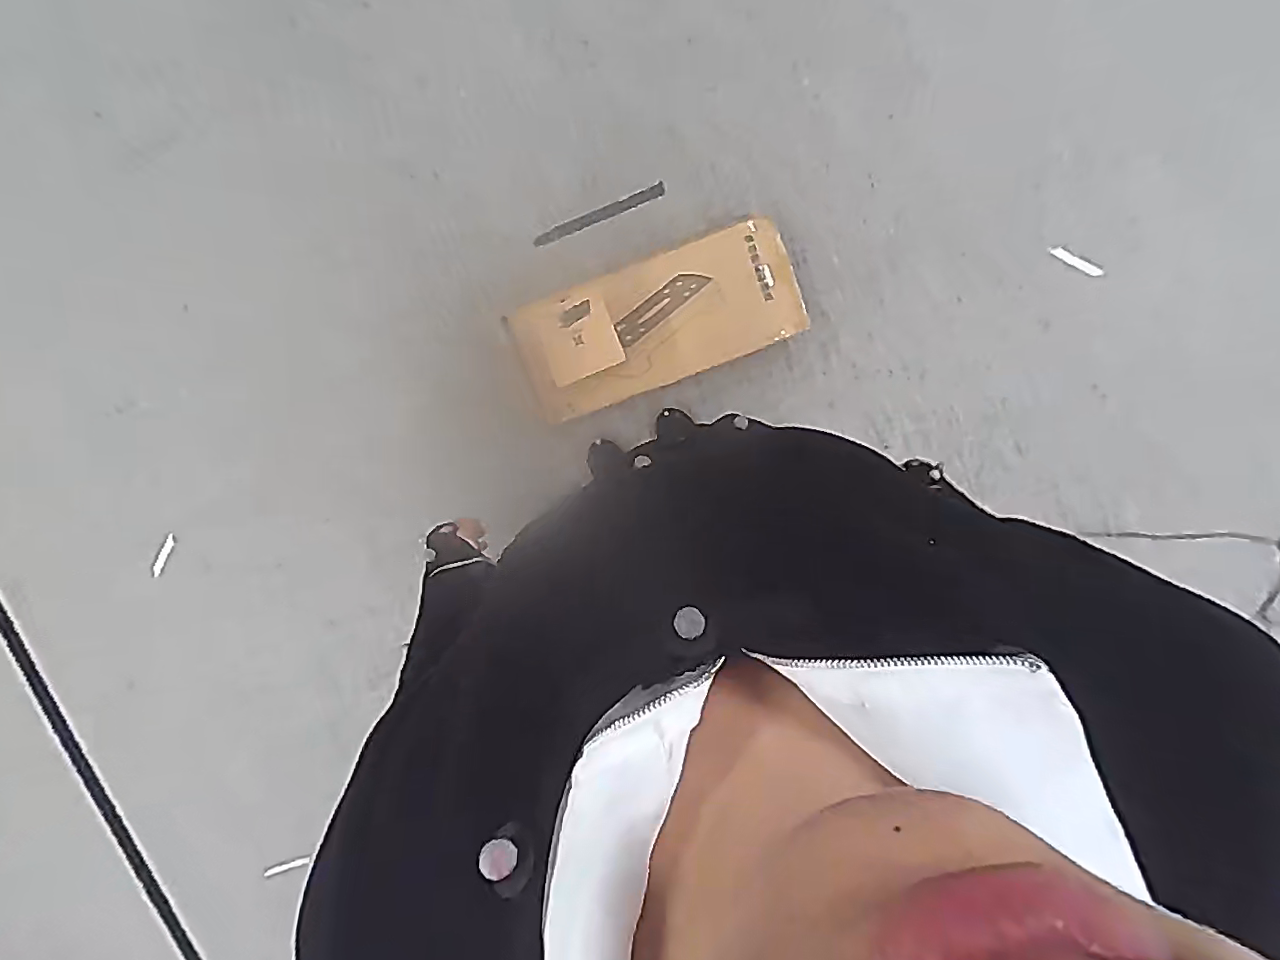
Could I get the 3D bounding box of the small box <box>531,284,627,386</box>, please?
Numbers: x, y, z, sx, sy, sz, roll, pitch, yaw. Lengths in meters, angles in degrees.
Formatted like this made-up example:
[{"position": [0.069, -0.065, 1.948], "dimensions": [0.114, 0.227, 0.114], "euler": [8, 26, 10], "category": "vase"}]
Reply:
[{"position": [-0.136, -0.330, 1.264], "dimensions": [0.168, 0.176, 0.179], "euler": [-22, 98, 2], "category": "small box"}]
